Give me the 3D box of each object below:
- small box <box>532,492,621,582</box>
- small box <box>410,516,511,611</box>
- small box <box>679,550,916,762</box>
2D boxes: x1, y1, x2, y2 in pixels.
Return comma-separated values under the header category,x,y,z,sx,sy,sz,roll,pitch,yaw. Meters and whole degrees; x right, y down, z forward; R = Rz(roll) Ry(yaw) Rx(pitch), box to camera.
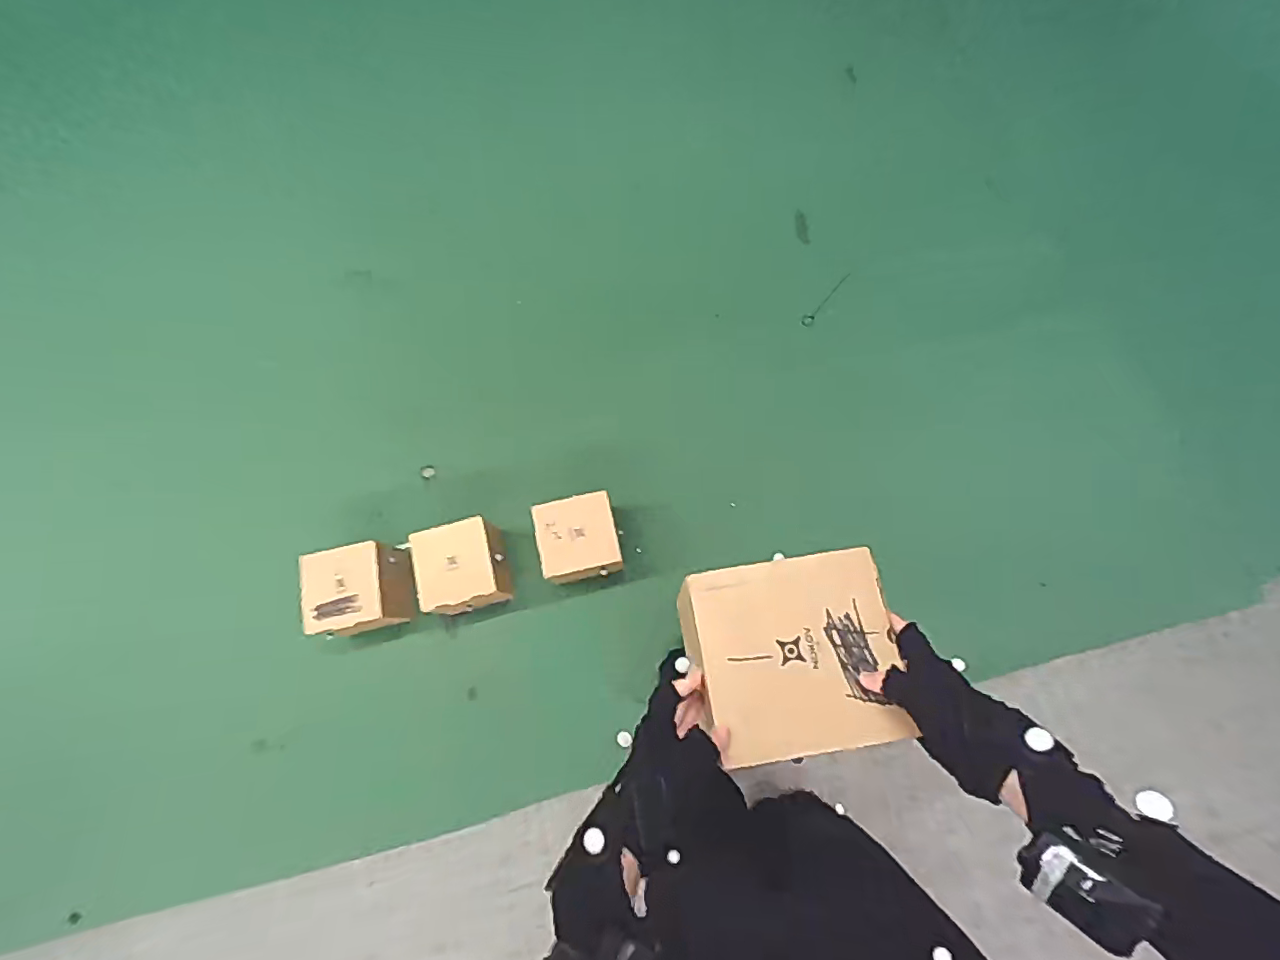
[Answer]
category,x,y,z,sx,sy,sz,roll,pitch,yaw
small box,-0.143,0.139,1.269,0.179,0.176,0.168,-12,75,-3
small box,-0.412,0.199,1.258,0.168,0.176,0.179,-14,76,-3
small box,0.141,0.177,0.556,0.179,0.176,0.168,-8,69,-1
